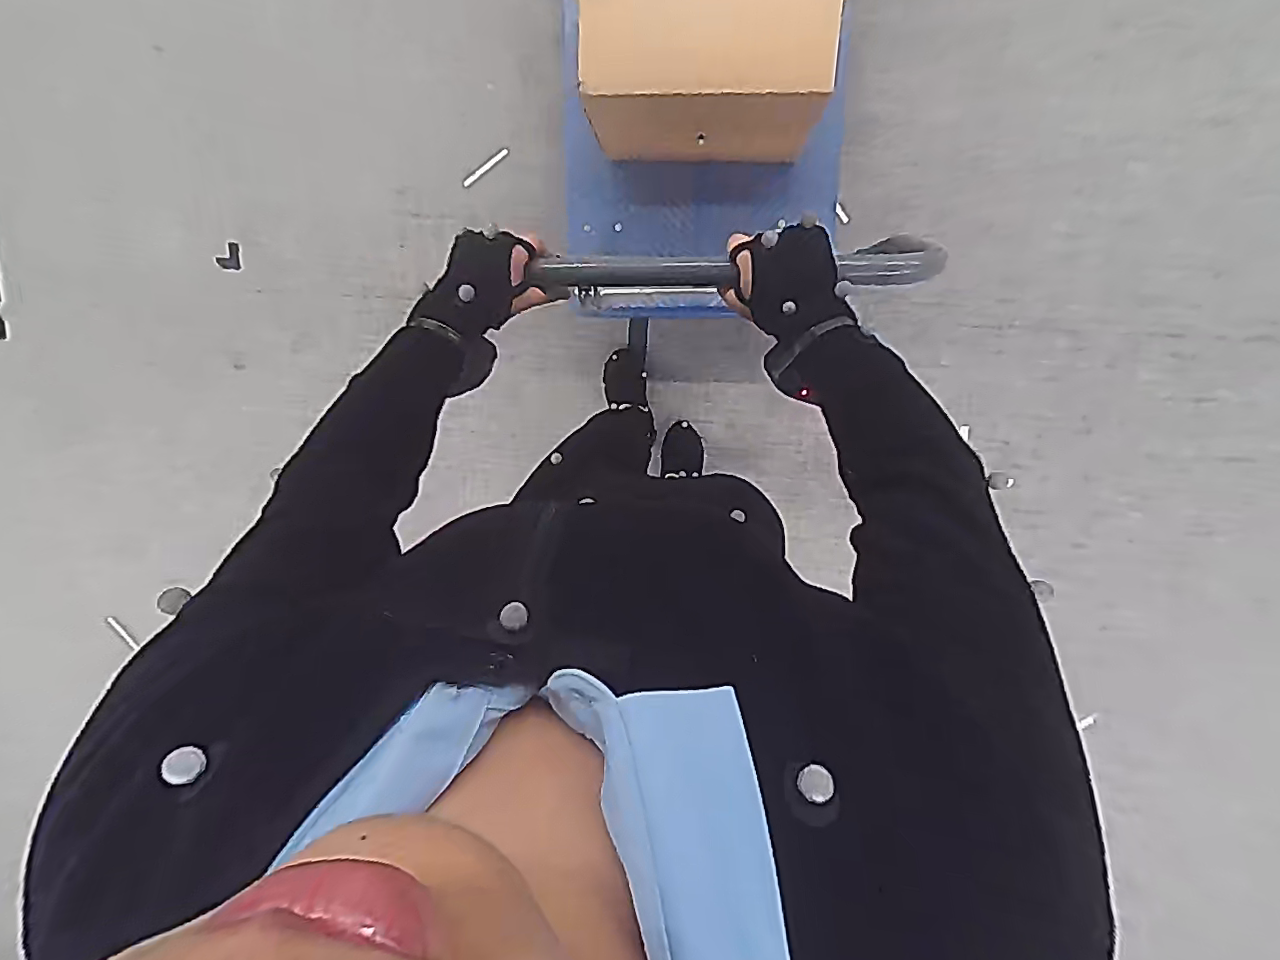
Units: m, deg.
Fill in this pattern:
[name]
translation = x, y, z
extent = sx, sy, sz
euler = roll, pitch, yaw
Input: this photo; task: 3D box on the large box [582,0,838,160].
[large box]
translation = 0.122, -0.800, 0.979
extent = 0.408, 0.320, 0.320
euler = 3, 102, 5
